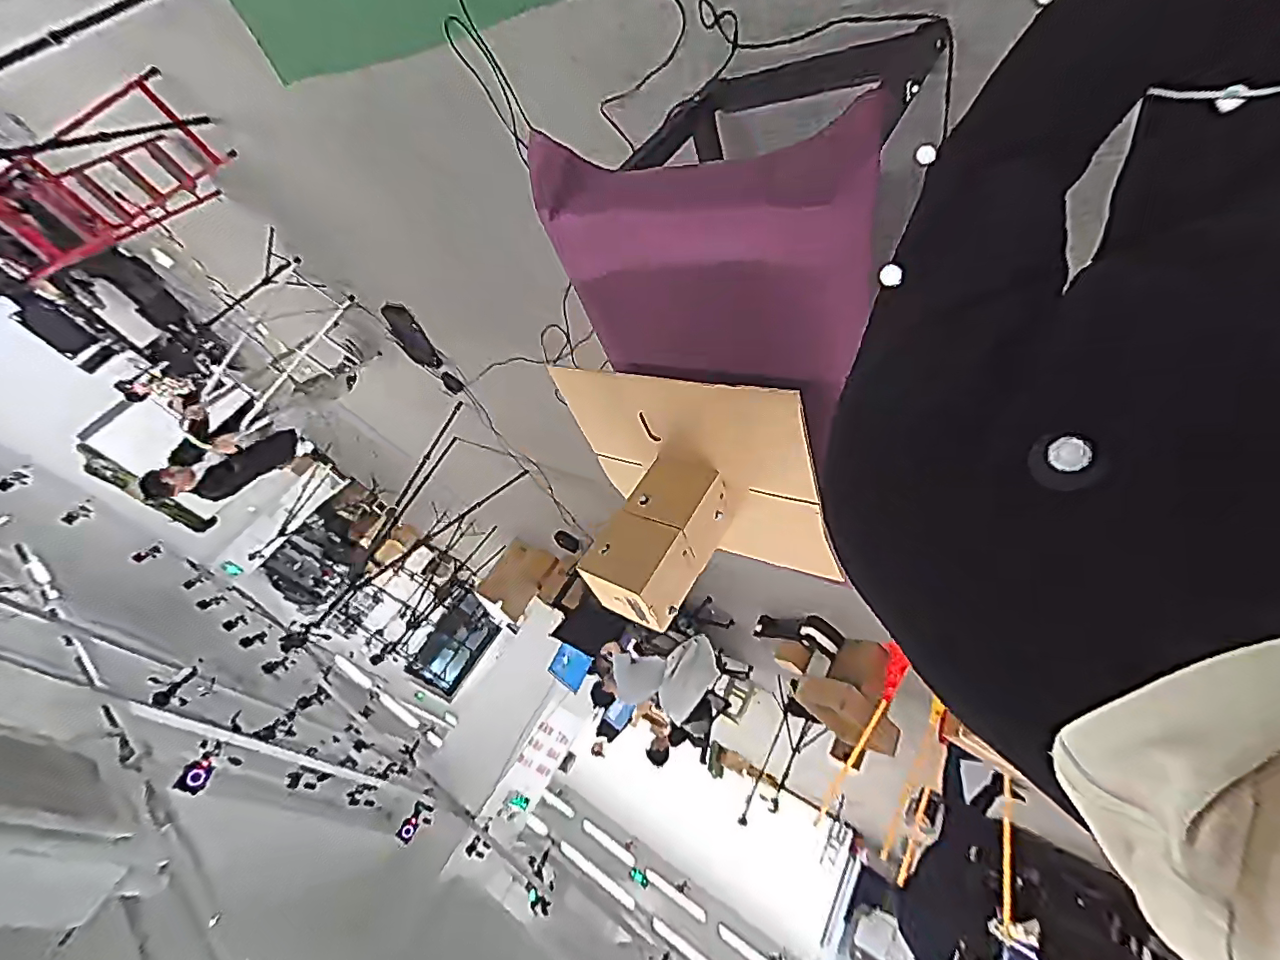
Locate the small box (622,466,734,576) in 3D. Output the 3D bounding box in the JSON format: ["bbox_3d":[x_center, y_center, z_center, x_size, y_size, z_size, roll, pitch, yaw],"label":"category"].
[{"bbox_3d":[0.093,0.088,1.250,0.179,0.176,0.168,14,146,34],"label":"small box"}]
